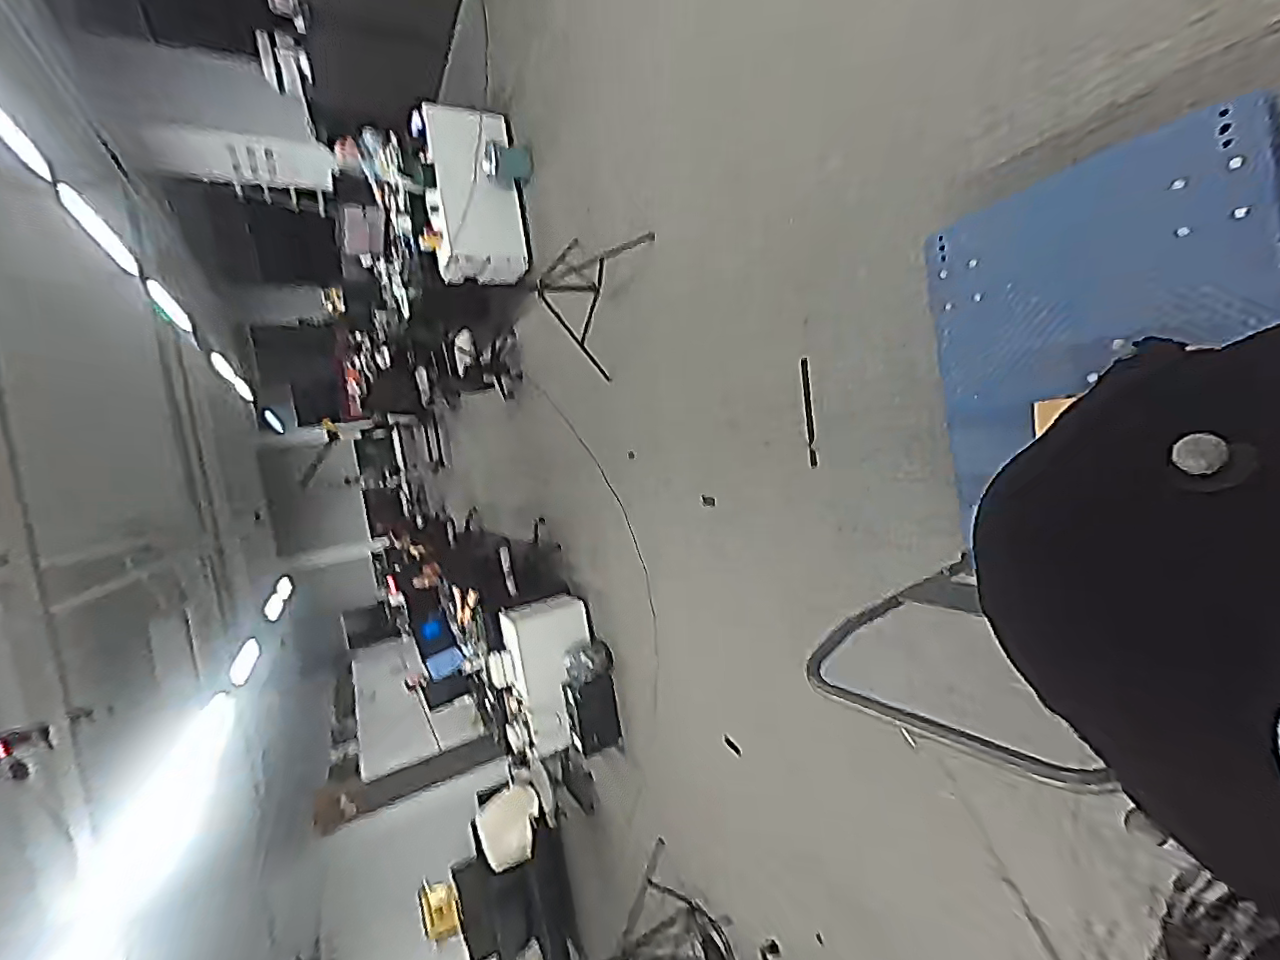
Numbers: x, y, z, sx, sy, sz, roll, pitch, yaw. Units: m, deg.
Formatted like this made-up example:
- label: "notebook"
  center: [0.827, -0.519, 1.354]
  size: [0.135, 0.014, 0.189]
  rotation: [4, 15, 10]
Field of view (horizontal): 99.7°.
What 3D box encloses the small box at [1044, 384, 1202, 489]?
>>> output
- label: "small box"
  center: [0.892, -0.082, 1.003]
  size: [0.179, 0.176, 0.168]
  rotation: [3, 103, 60]
